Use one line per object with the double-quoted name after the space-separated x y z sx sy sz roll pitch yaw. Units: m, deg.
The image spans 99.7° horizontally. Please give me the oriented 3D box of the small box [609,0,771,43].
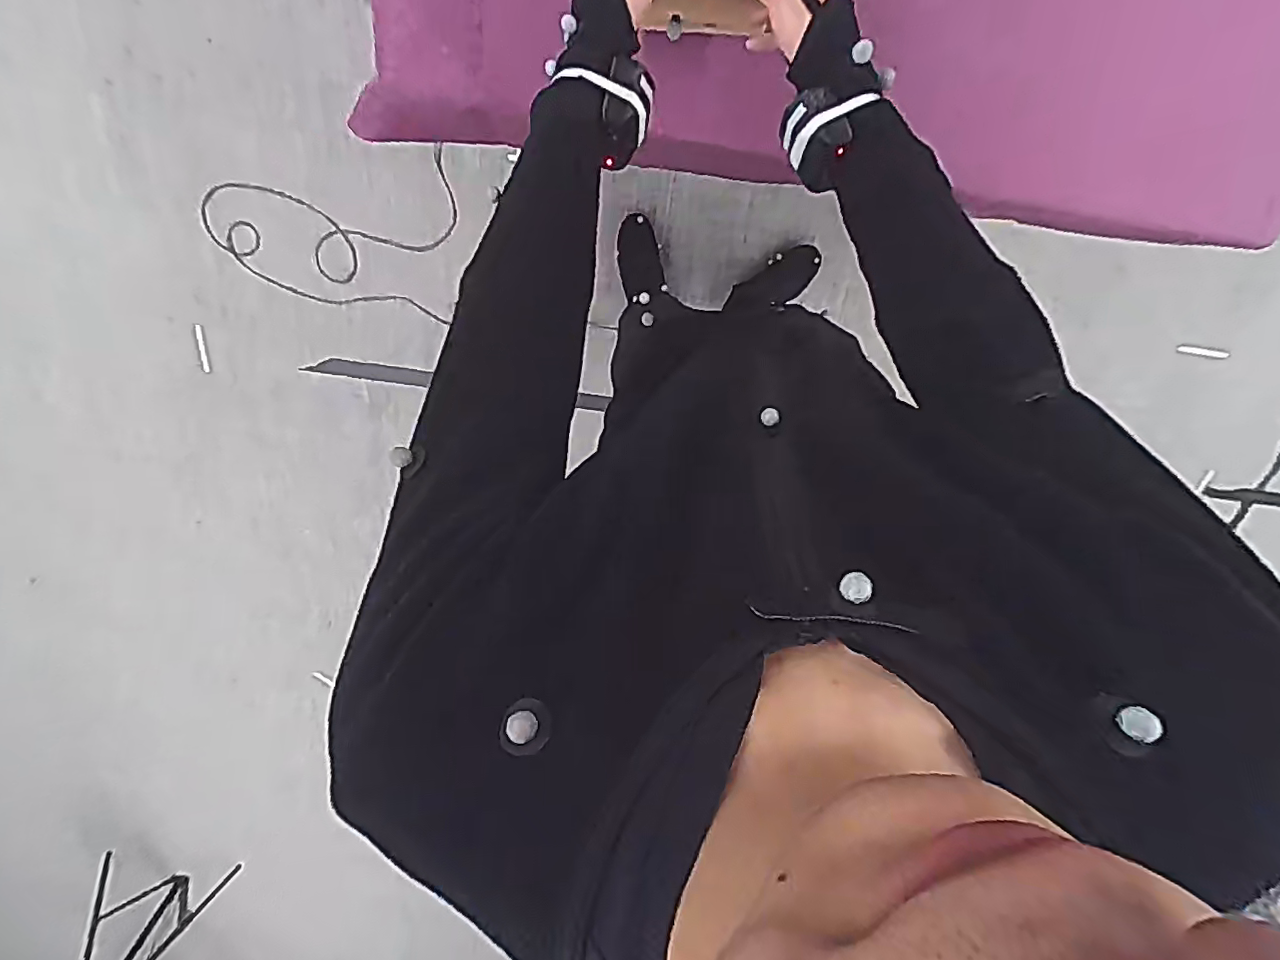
0.050 -0.546 0.501 0.168 0.176 0.179 4 114 2 "small box"
